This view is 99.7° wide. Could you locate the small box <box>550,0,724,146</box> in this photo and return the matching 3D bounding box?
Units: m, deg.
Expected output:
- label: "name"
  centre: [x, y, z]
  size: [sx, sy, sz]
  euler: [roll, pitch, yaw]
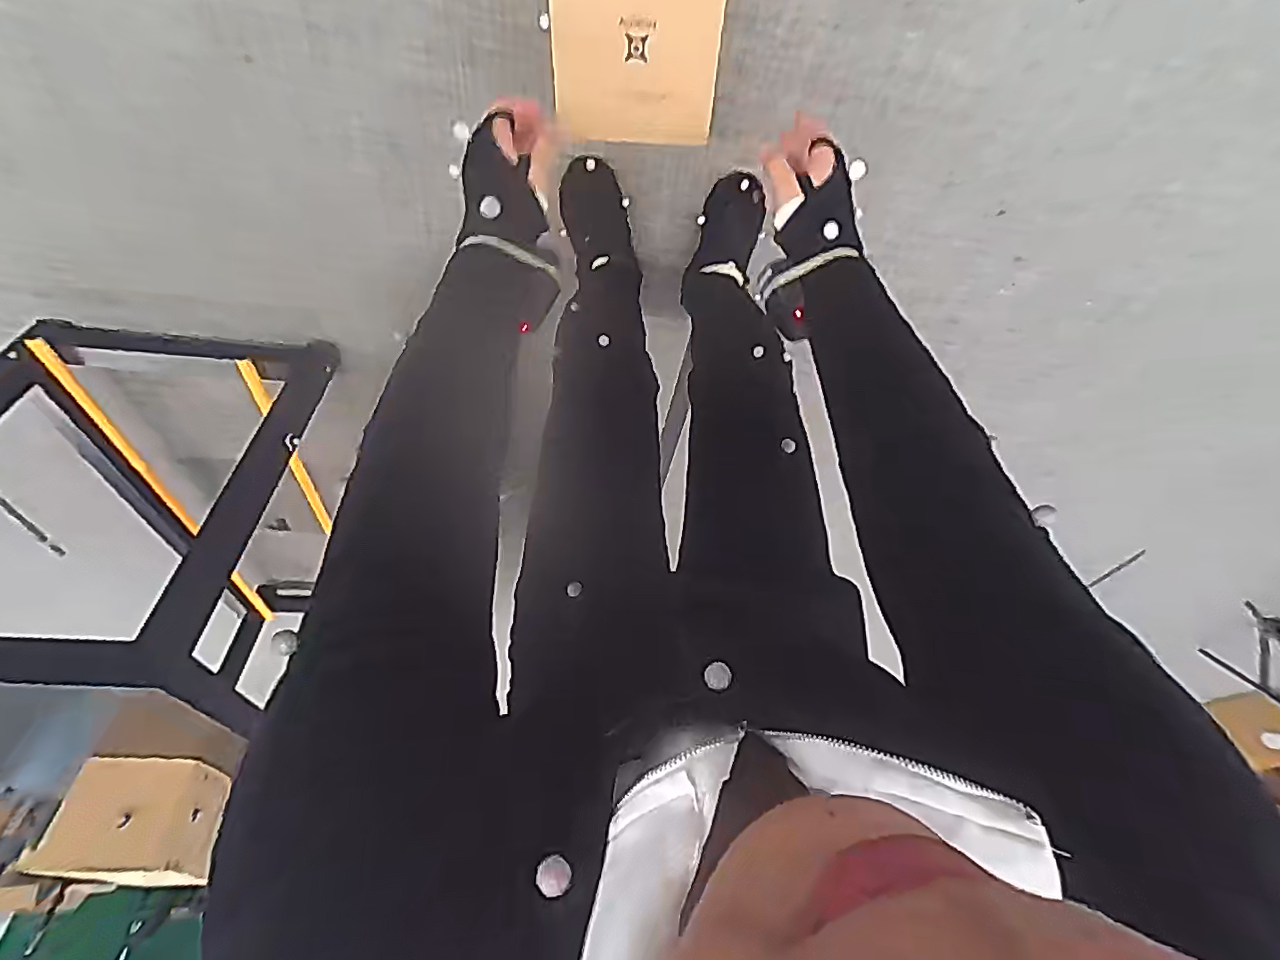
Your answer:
- label: "small box"
  centre: [-0.007, -0.487, 0.577]
  size: [0.168, 0.176, 0.179]
  euler: [1, 142, -2]
